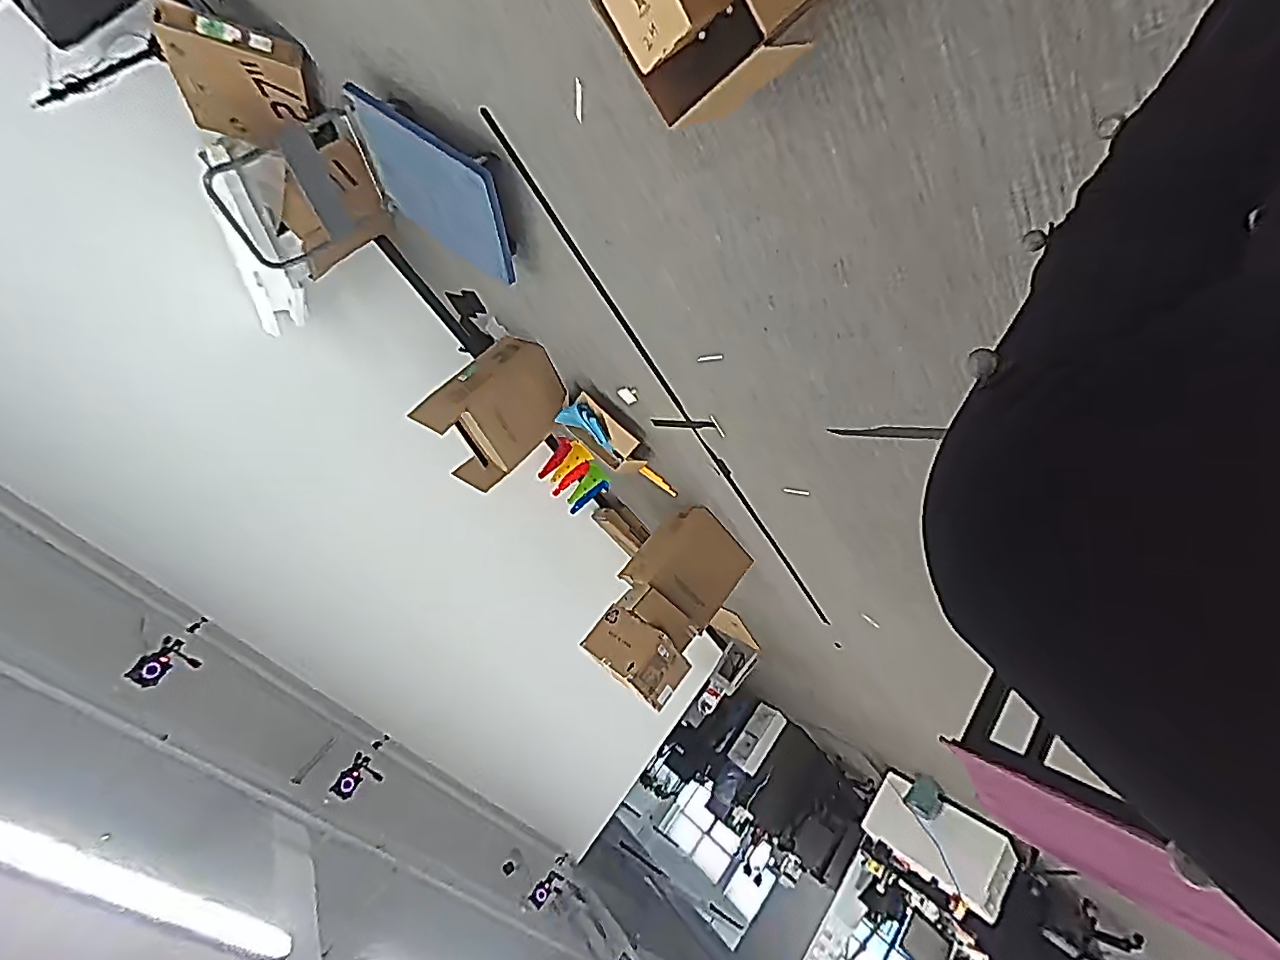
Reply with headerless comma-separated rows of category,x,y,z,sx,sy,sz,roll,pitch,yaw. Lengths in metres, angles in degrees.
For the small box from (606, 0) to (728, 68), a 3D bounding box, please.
small box,0.055,-0.960,1.040,0.179,0.176,0.168,50,159,-26
